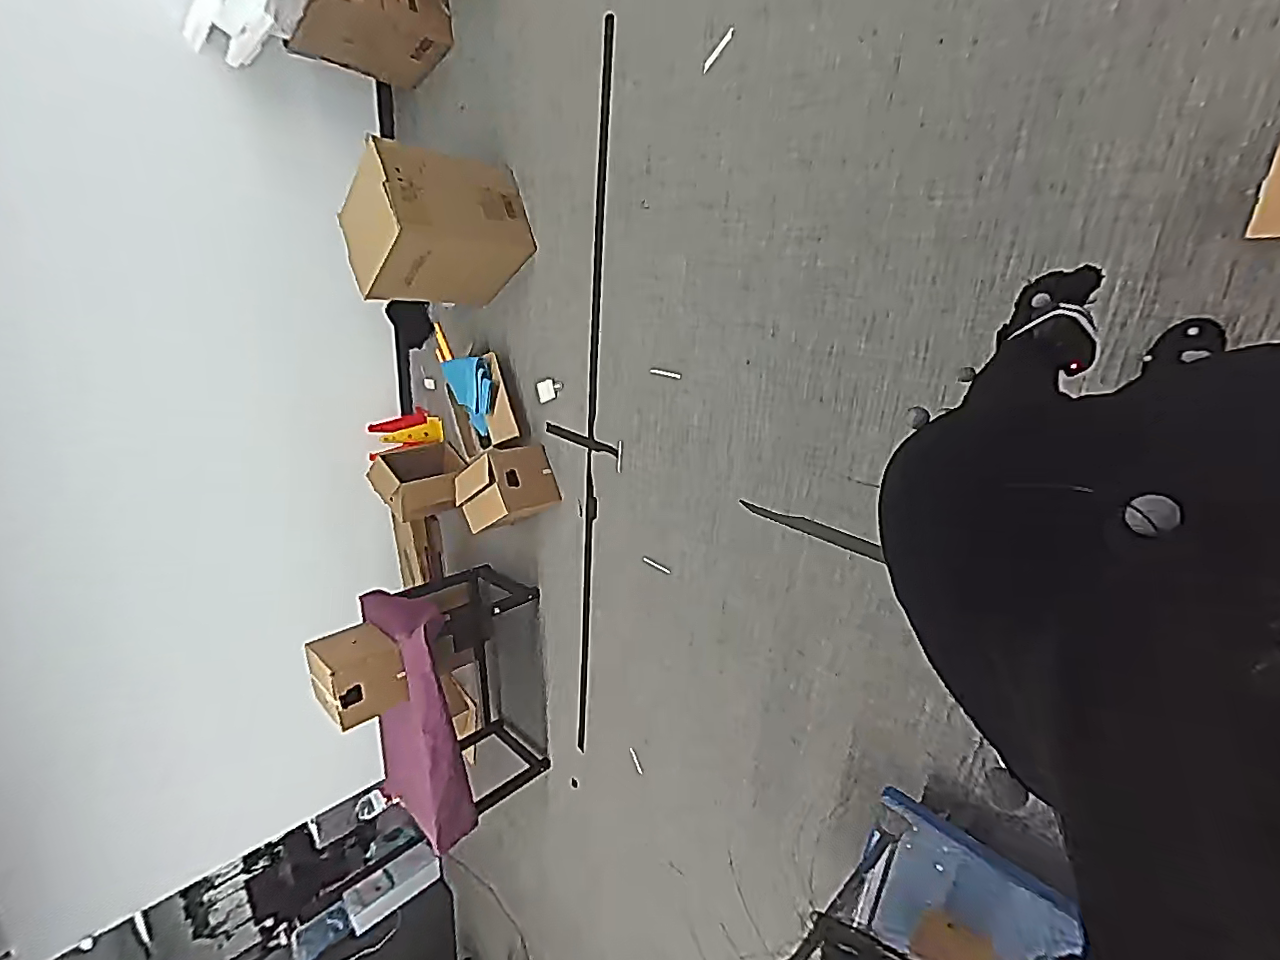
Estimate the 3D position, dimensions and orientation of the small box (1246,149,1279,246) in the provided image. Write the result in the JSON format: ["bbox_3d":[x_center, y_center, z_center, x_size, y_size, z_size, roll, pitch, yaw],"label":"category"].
[{"bbox_3d":[1.131,-0.476,0.867,0.179,0.176,0.168,20,113,42],"label":"small box"}]

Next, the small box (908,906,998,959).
[{"bbox_3d":[0.800,1.275,1.398,0.168,0.176,0.179,17,113,42],"label":"small box"}]
